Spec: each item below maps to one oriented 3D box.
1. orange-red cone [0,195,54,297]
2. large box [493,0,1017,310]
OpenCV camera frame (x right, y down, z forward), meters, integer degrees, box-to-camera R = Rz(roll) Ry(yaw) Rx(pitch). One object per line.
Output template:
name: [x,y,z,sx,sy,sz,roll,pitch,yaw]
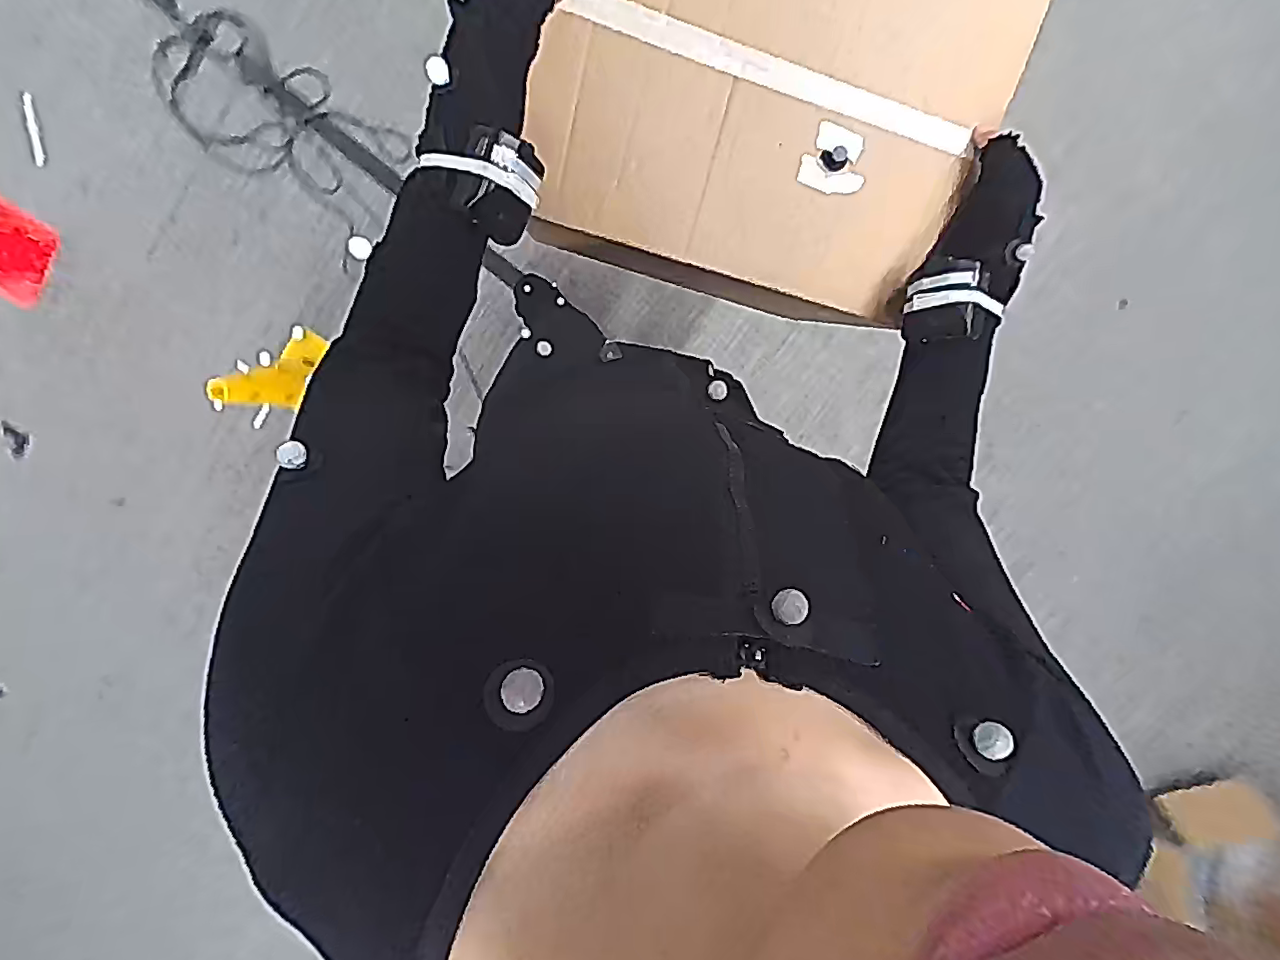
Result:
orange-red cone: [-1.506,-0.521,1.116,0.199,0.360,0.198,34,102,-11]
large box: [0.082,-0.386,0.586,0.408,0.320,0.320,12,107,-10]
